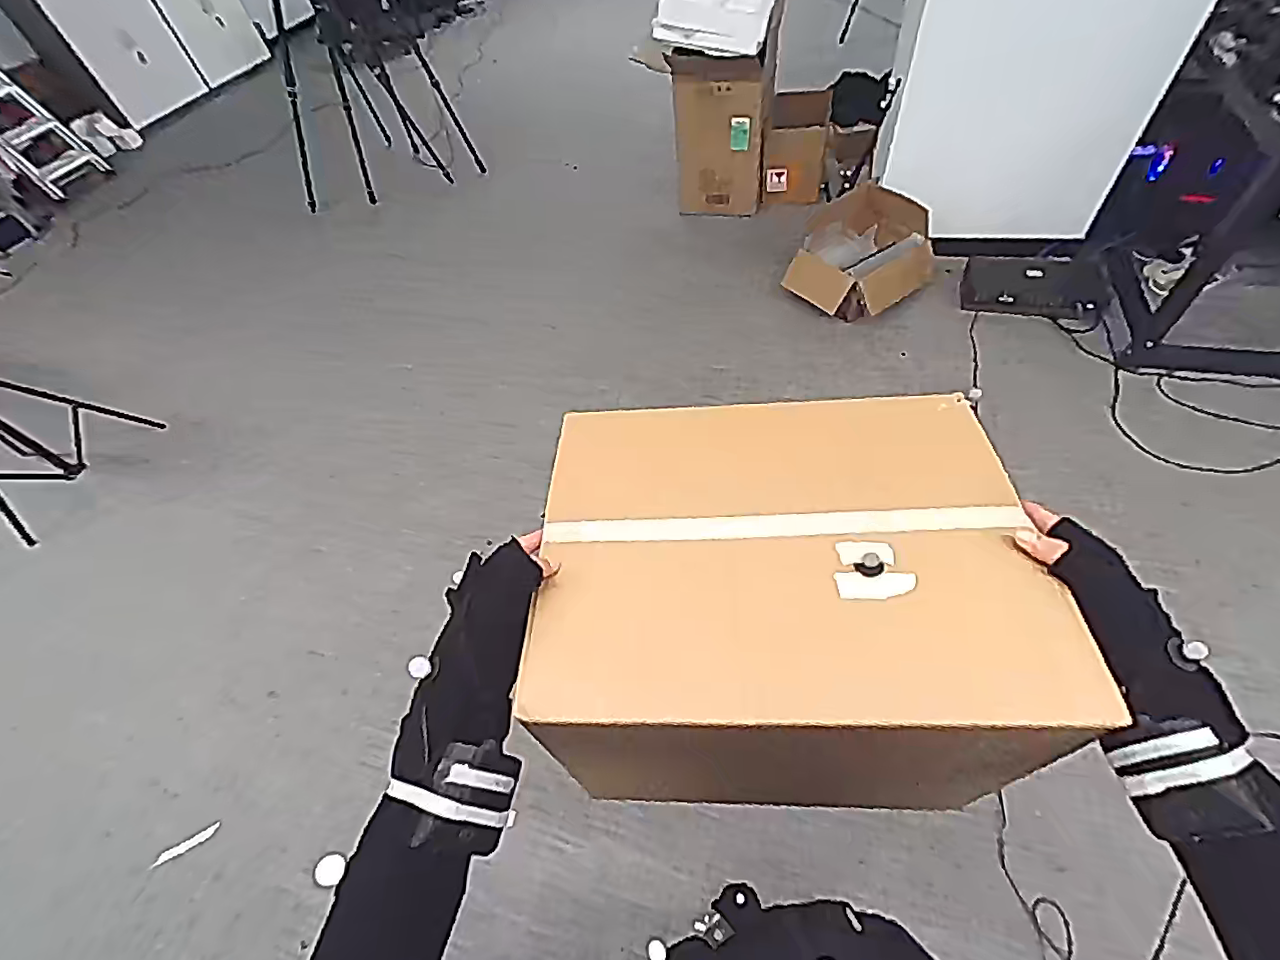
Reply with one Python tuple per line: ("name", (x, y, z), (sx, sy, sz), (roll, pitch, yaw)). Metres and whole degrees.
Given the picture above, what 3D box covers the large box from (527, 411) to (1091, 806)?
("large box", (0.127, 0.150, 0.589), (0.408, 0.320, 0.320), (-2, 50, 6))
